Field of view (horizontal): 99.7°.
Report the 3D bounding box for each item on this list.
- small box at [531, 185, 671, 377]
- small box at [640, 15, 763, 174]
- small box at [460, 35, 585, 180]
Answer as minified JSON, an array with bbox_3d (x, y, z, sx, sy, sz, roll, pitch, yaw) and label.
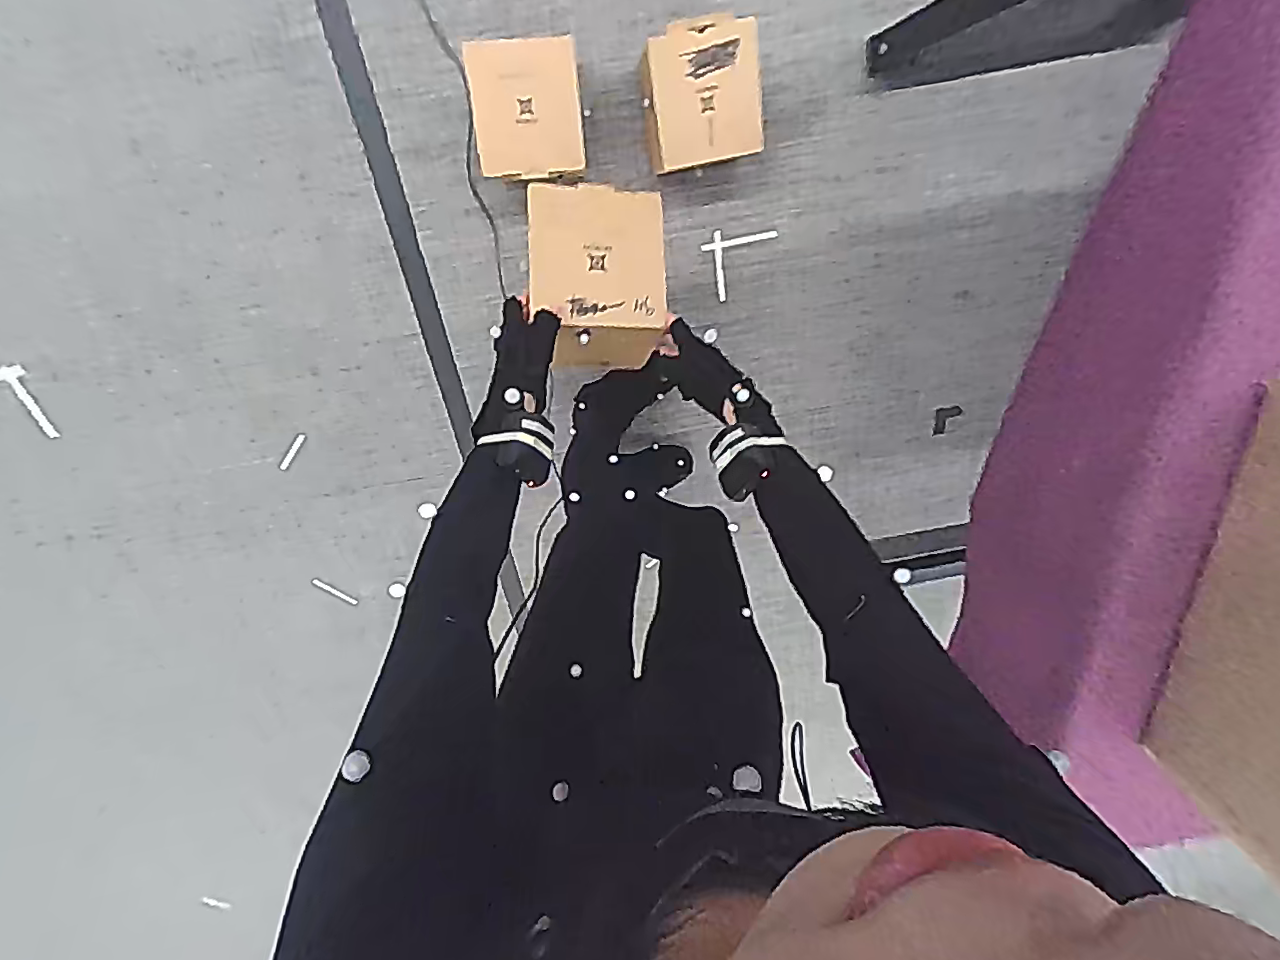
[{"bbox_3d":[-0.060,-0.250,0.717,0.168,0.176,0.179,0,83,-11],"label":"small box"},{"bbox_3d":[0.097,-0.624,0.897,0.168,0.176,0.179,-11,117,1],"label":"small box"},{"bbox_3d":[-0.181,-0.599,0.890,0.168,0.176,0.179,-6,116,-3],"label":"small box"}]
